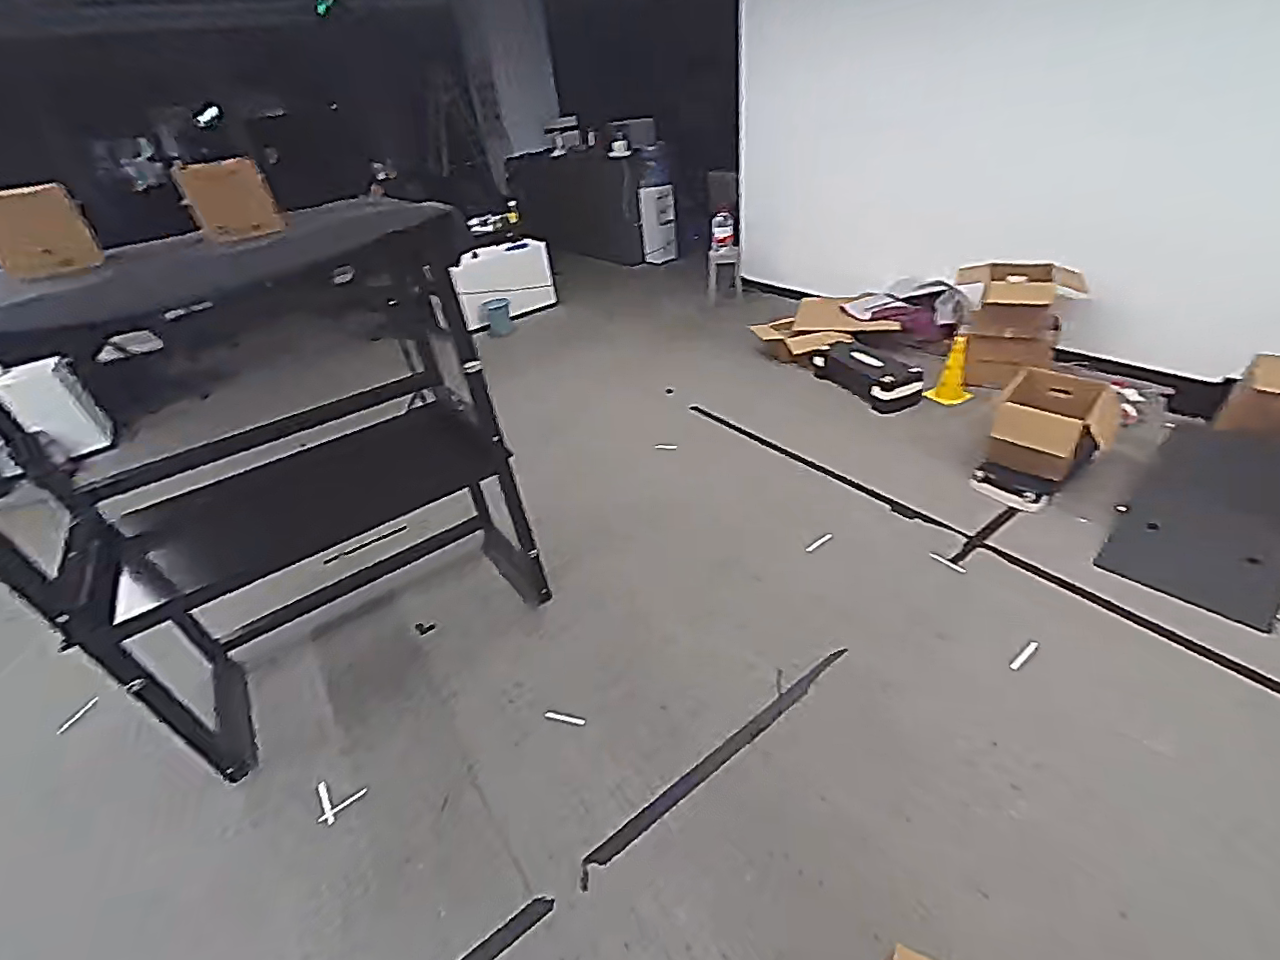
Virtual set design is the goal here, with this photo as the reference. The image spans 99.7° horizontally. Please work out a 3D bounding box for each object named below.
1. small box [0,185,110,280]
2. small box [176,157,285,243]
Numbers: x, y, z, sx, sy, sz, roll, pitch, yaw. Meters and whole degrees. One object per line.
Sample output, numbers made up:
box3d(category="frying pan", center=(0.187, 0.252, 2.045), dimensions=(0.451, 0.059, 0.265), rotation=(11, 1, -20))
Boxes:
box3d(category="small box", center=(-1.390, -0.577, 1.259), dimensions=(0.168, 0.176, 0.179), rotation=(-30, 42, -27))
box3d(category="small box", center=(-1.053, -0.722, 1.398), dimensions=(0.168, 0.176, 0.179), rotation=(-29, 40, -27))
